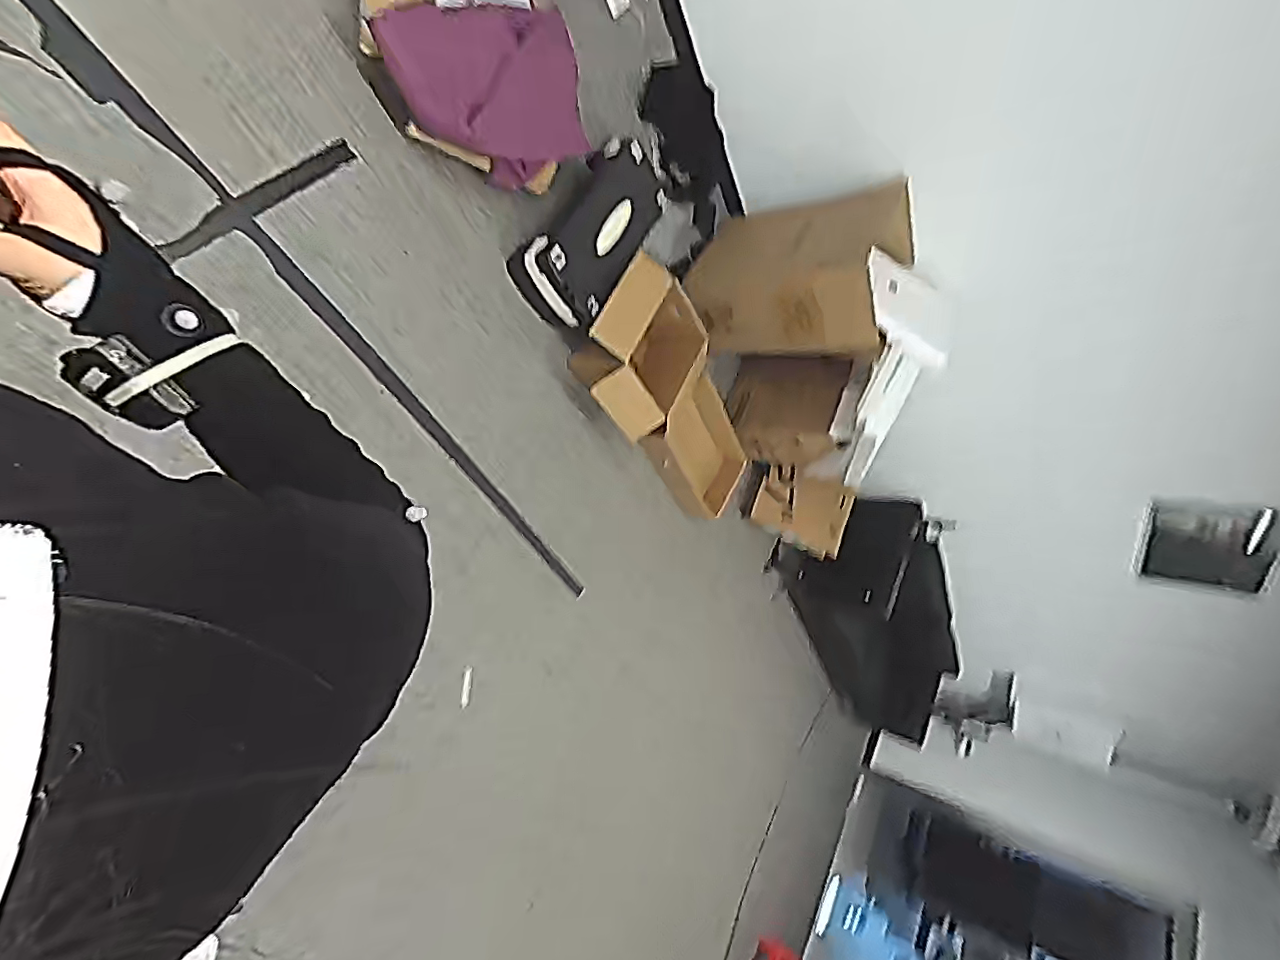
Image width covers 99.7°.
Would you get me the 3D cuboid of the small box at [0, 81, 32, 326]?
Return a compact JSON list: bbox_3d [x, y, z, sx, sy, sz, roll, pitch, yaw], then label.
[{"bbox_3d":[-0.367,-0.167,0.195,0.168,0.176,0.179,-18,95,-49],"label":"small box"}]
